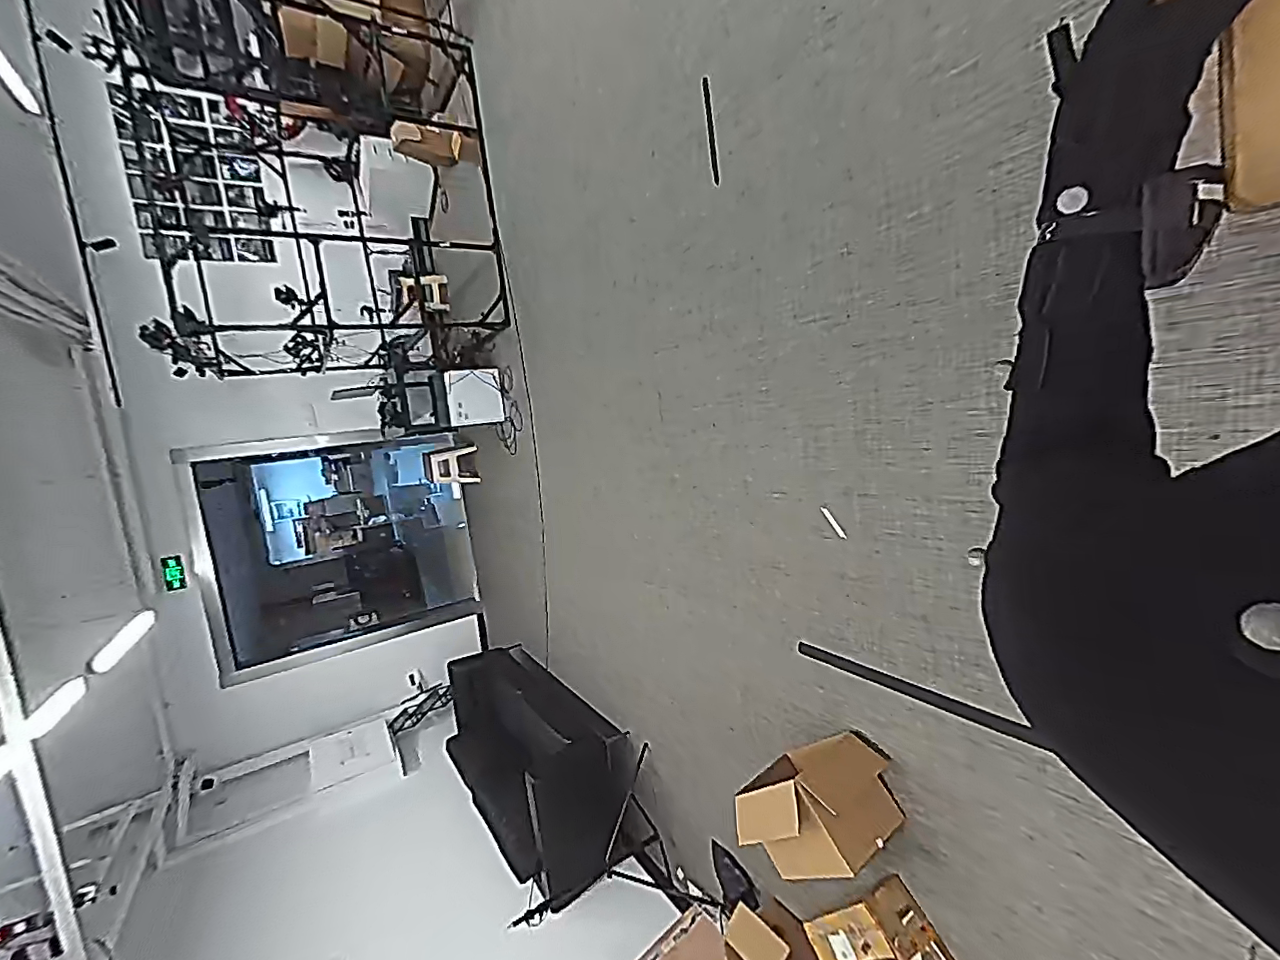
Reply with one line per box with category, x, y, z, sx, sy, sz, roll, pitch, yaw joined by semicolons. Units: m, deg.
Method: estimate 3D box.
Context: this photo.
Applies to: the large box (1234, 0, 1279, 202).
large box;0.552;-0.349;0.207;0.408;0.320;0.320;3;110;58
